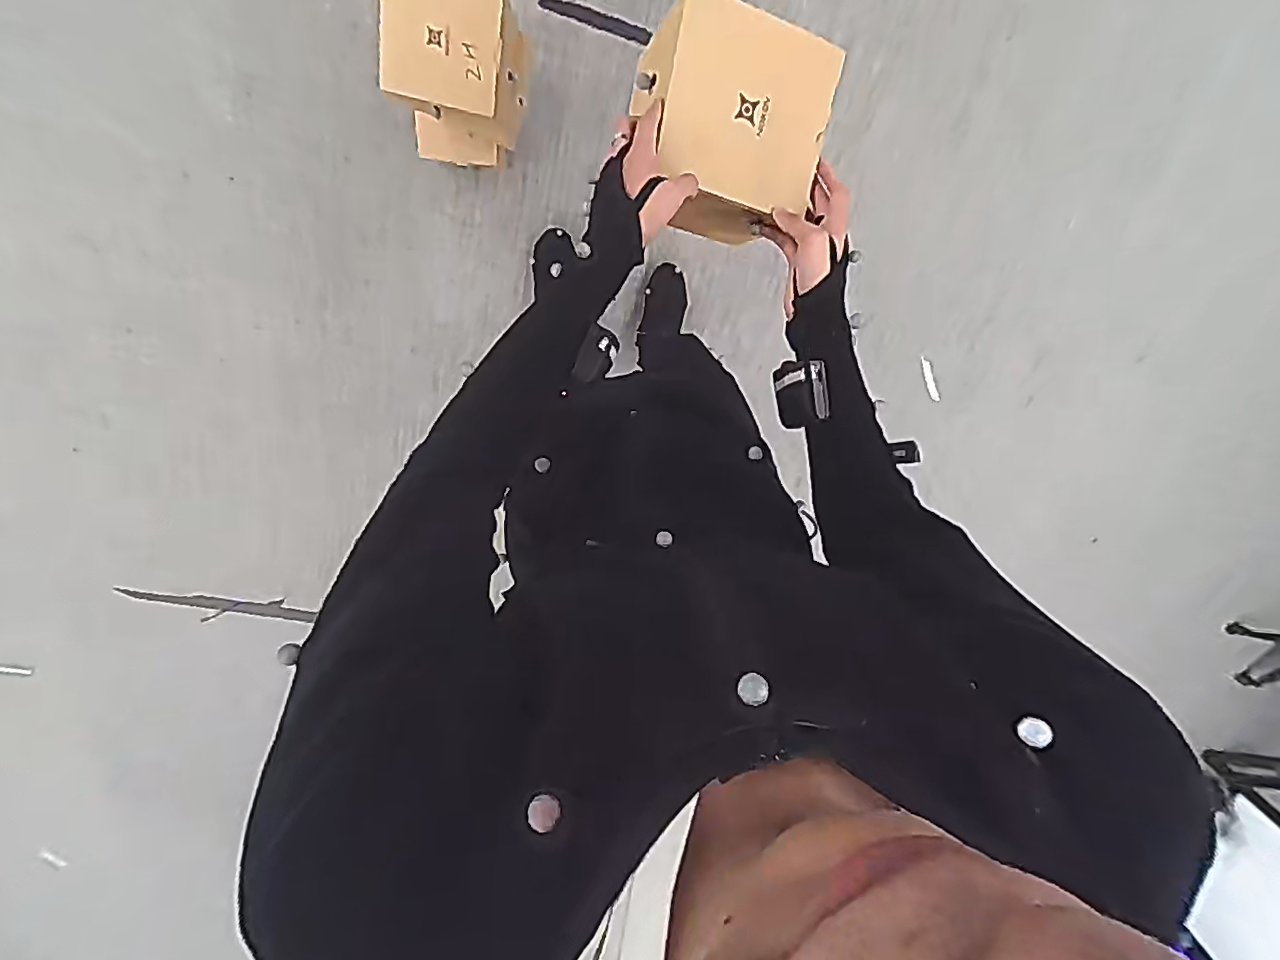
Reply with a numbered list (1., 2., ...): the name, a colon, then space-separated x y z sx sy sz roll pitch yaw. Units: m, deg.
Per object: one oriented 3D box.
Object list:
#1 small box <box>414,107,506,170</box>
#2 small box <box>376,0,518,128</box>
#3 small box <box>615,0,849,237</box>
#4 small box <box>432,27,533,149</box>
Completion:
1. small box: -0.386 -0.788 1.175 0.168 0.176 0.179 2 117 -7
2. small box: -0.303 -0.687 0.867 0.179 0.176 0.168 9 115 -10
3. small box: 0.083 -0.376 0.584 0.179 0.176 0.168 7 104 -20
4. small box: -0.304 -0.755 1.017 0.168 0.176 0.179 17 114 -13
